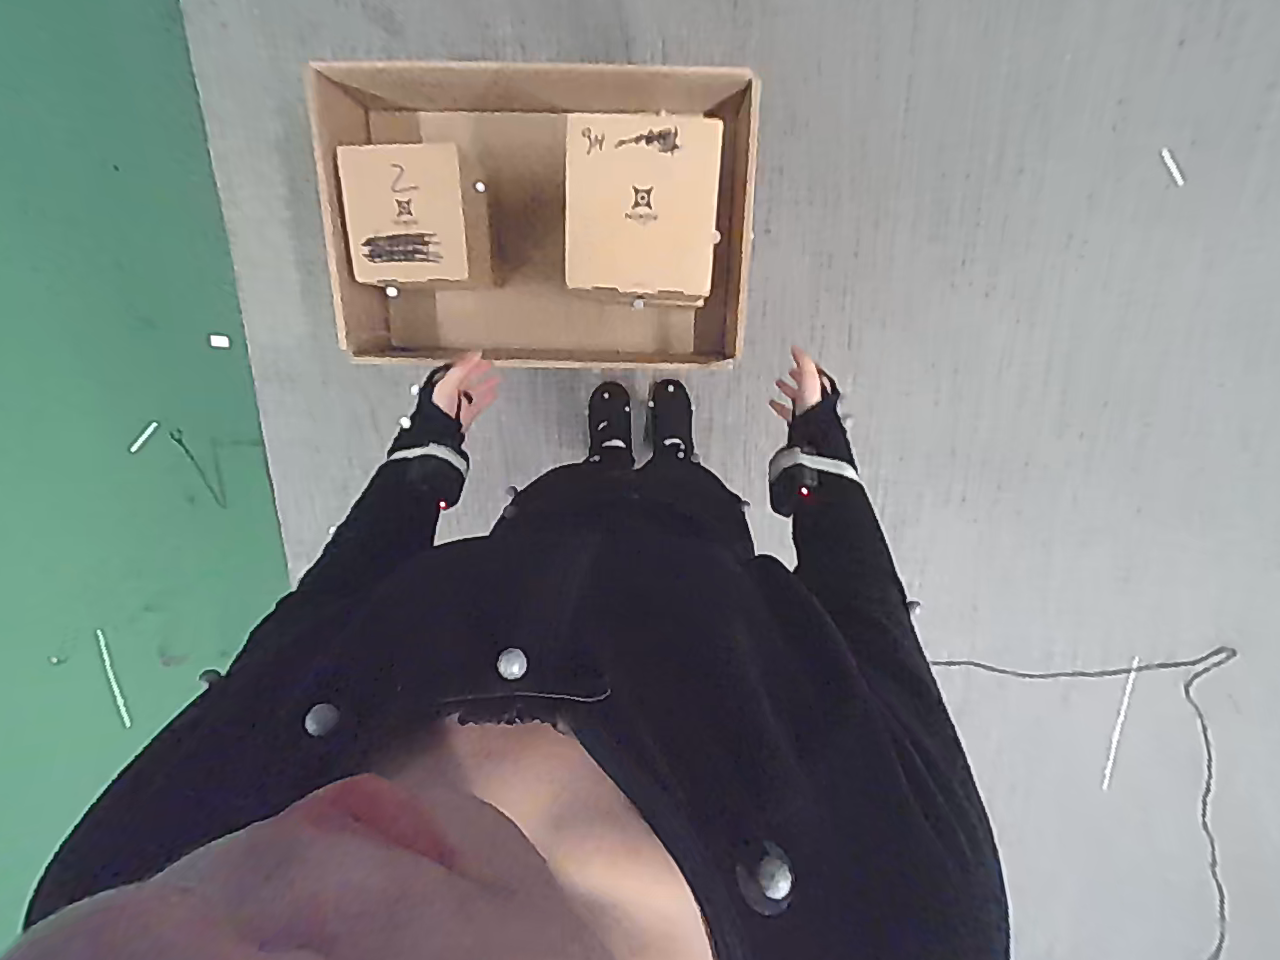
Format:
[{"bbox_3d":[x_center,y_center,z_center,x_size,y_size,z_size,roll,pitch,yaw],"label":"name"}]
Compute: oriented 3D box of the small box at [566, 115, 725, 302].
[{"bbox_3d":[0.006,-0.316,0.664,0.168,0.176,0.179,4,106,1],"label":"small box"}]
